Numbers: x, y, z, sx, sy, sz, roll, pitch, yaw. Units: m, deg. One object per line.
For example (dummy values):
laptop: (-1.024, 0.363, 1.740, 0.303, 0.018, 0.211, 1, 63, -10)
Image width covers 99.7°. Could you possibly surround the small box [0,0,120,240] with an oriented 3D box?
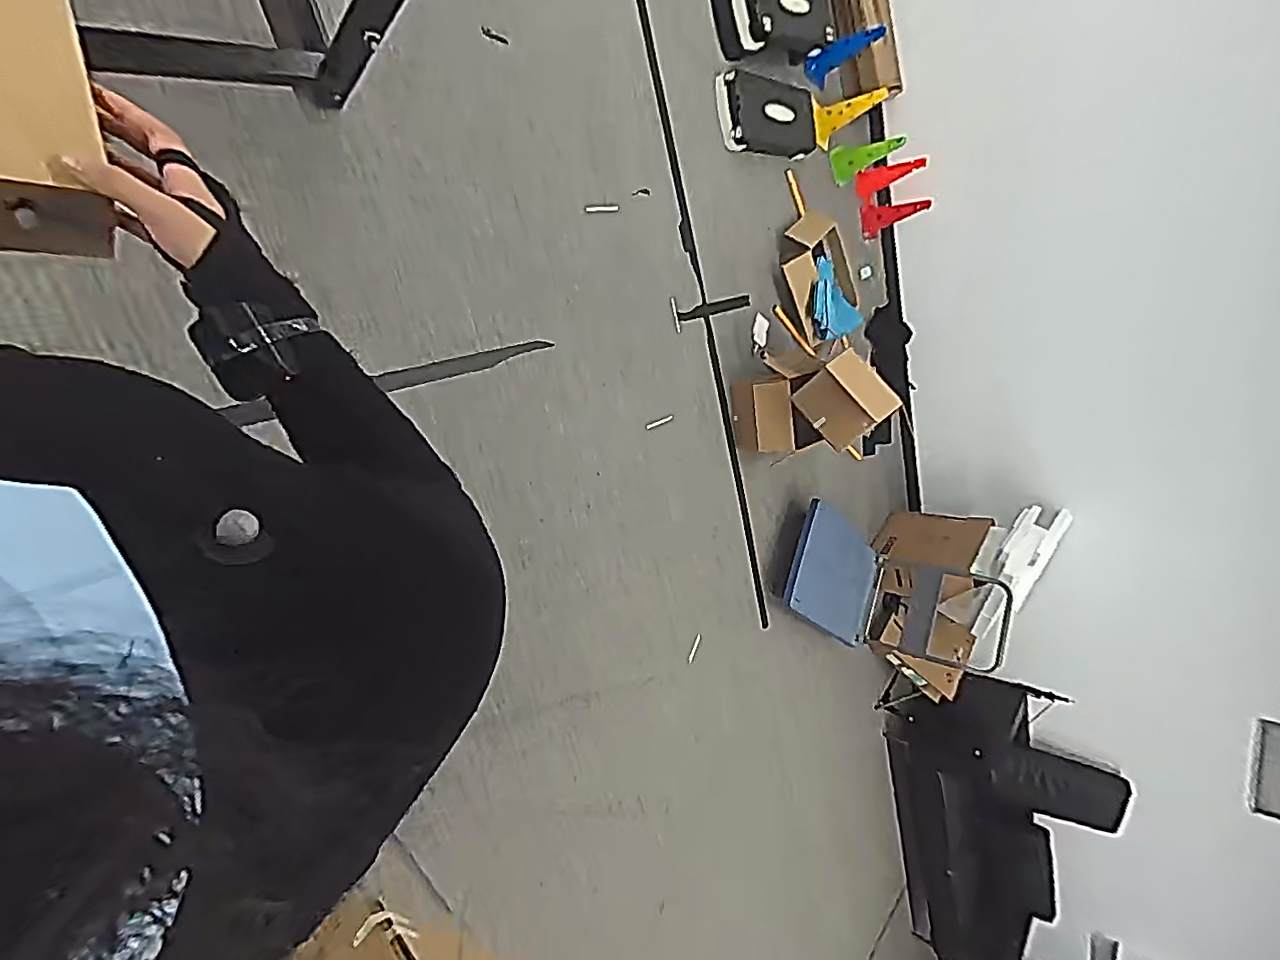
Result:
small box: (-0.489, -0.275, 0.364, 0.179, 0.176, 0.168, -13, 101, -43)
